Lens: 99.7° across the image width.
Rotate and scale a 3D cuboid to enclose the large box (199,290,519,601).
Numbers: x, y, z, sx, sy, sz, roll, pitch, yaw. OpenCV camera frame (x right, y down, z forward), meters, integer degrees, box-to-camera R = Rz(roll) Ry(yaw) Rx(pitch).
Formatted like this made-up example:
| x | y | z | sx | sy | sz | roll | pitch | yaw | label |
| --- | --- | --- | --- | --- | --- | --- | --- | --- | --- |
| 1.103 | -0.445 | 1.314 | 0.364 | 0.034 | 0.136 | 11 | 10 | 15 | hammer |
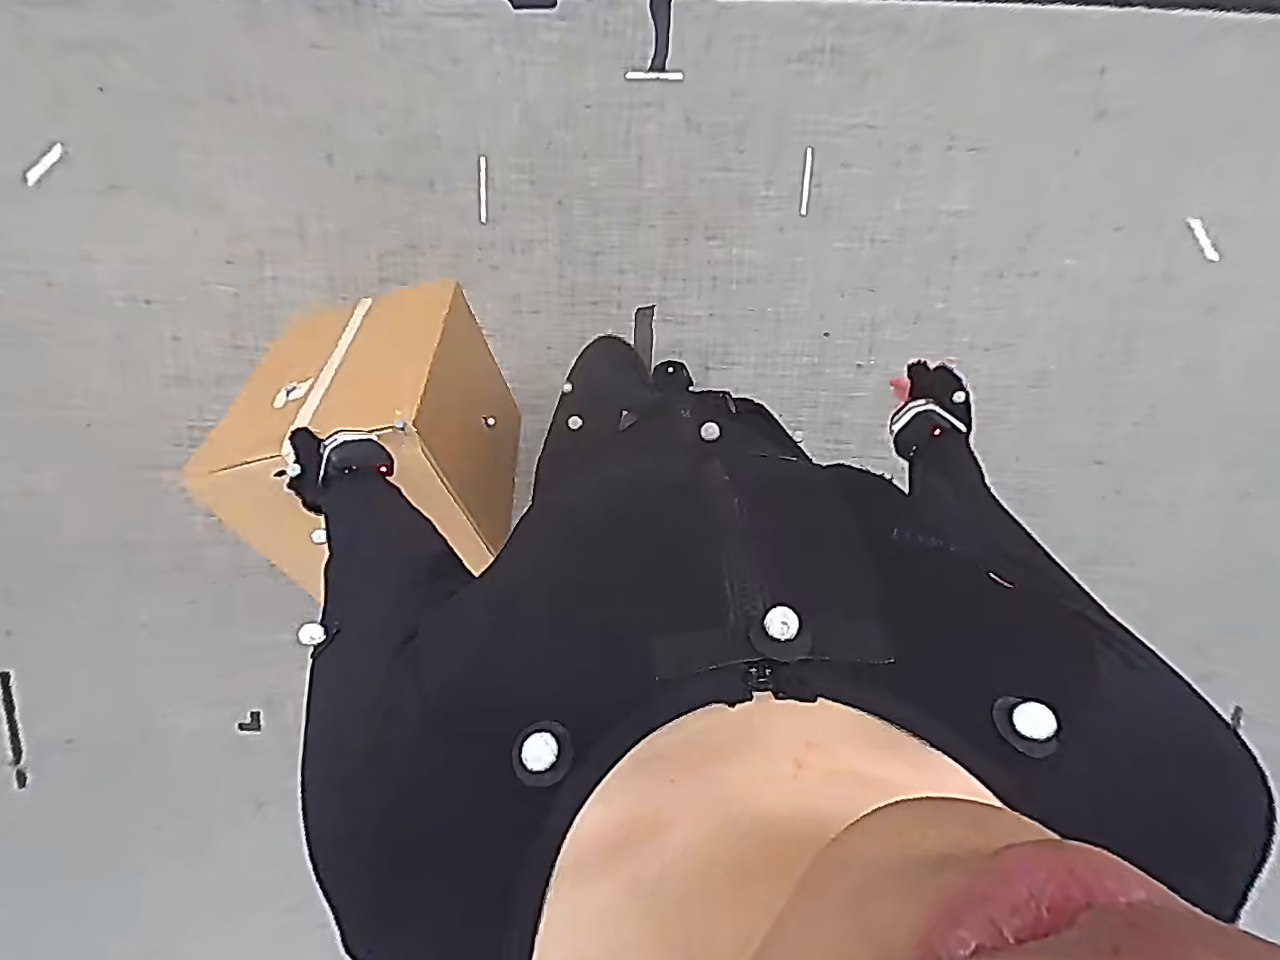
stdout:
| x | y | z | sx | sy | sz | roll | pitch | yaw | label |
| --- | --- | --- | --- | --- | --- | --- | --- | --- | --- |
| -0.414 | -0.064 | 0.928 | 0.320 | 0.408 | 0.320 | -13 | 135 | 5 | large box |
